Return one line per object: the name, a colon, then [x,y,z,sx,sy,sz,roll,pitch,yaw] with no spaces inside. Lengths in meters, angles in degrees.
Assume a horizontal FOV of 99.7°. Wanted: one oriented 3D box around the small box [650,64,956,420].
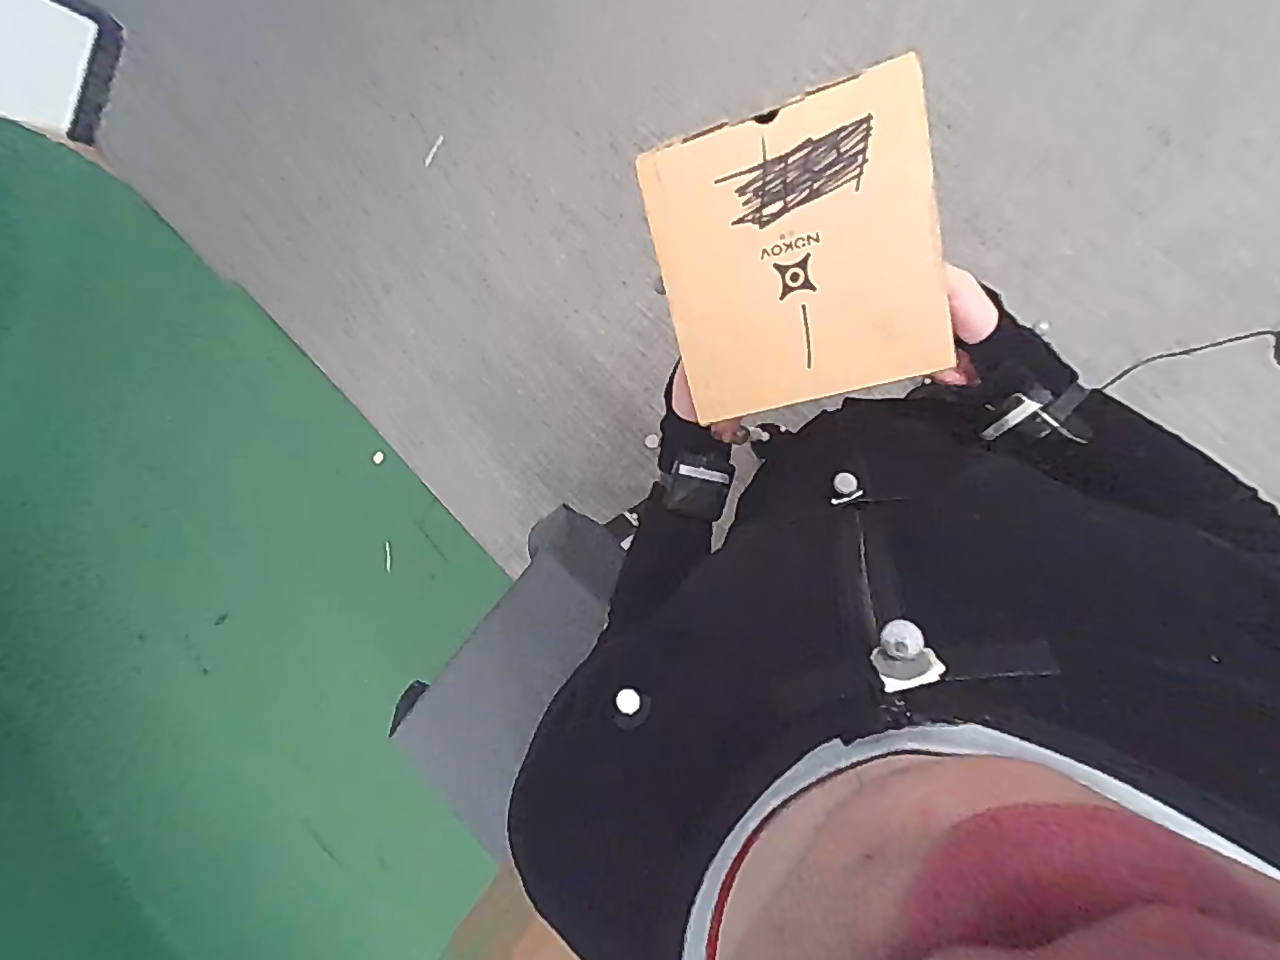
small box: [0.117,-0.160,0.413,0.168,0.176,0.179,-11,106,16]
